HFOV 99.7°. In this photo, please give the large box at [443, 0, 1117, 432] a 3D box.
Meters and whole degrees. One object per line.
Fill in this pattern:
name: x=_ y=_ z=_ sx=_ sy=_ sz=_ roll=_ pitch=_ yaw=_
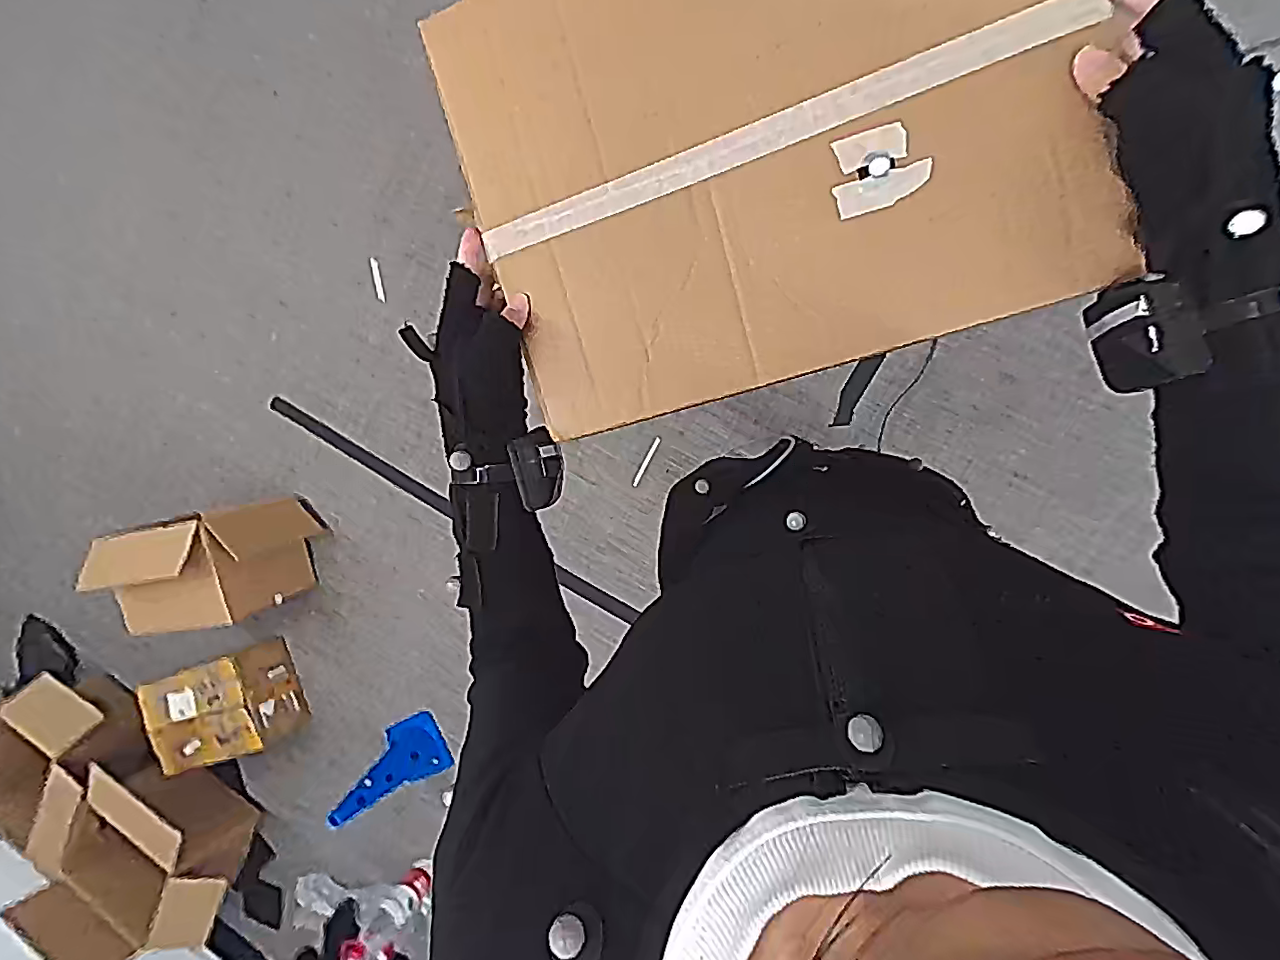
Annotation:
large box: x=0.106 y=-0.260 z=0.516 sx=0.408 sy=0.320 sz=0.320 roll=-14 pitch=99 yaw=13
